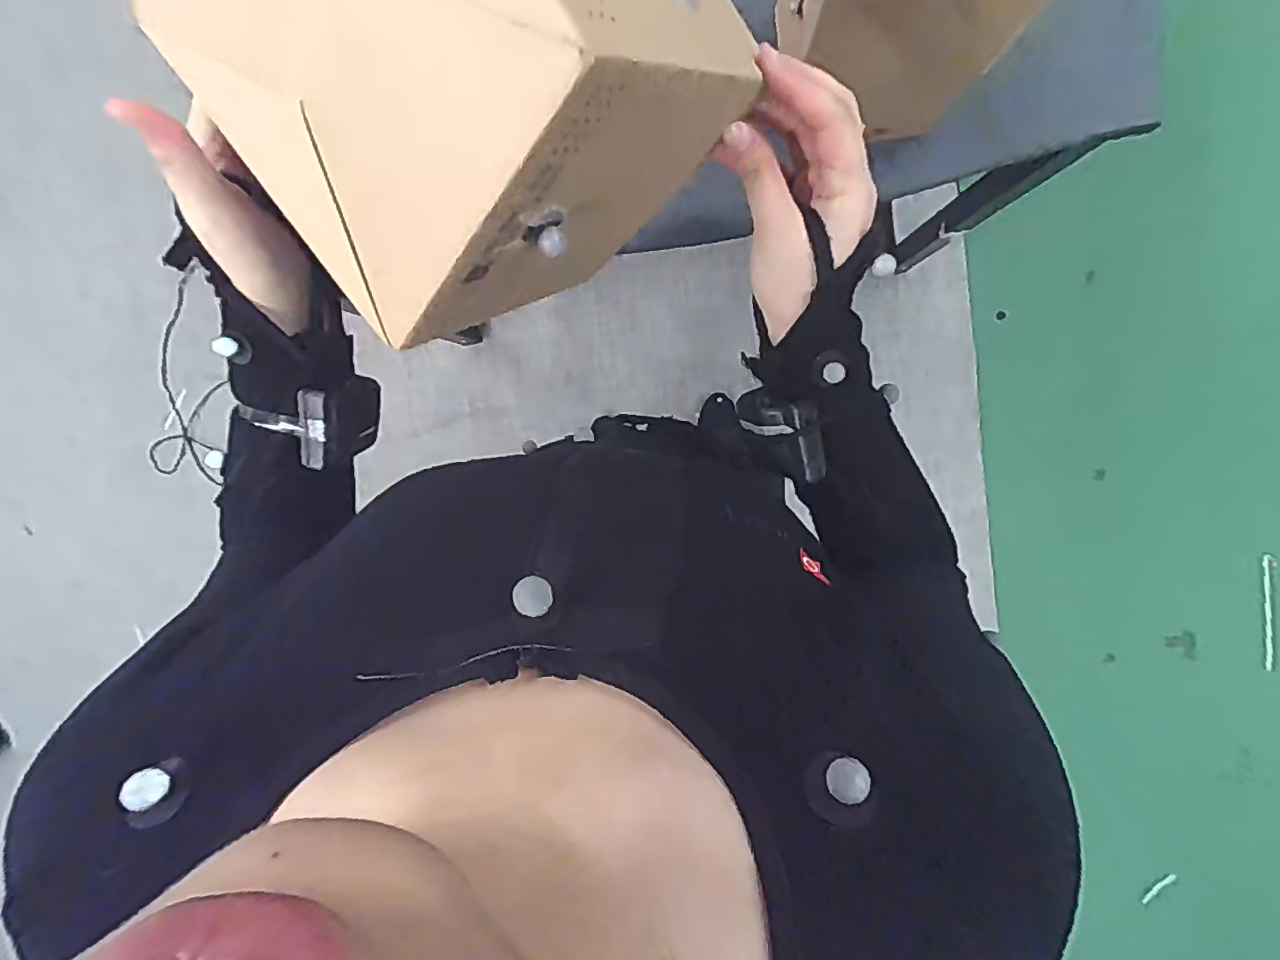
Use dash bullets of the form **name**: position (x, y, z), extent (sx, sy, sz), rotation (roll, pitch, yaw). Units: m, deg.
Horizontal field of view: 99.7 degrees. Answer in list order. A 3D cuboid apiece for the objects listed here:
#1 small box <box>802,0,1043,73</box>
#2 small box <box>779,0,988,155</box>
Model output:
- **small box**: position (0.239, -0.458, 0.425), extent (0.179, 0.176, 0.168), rotation (4, 97, 6)
- **small box**: position (0.251, -0.492, 0.585), extent (0.168, 0.176, 0.179), rotation (-7, 97, 7)
